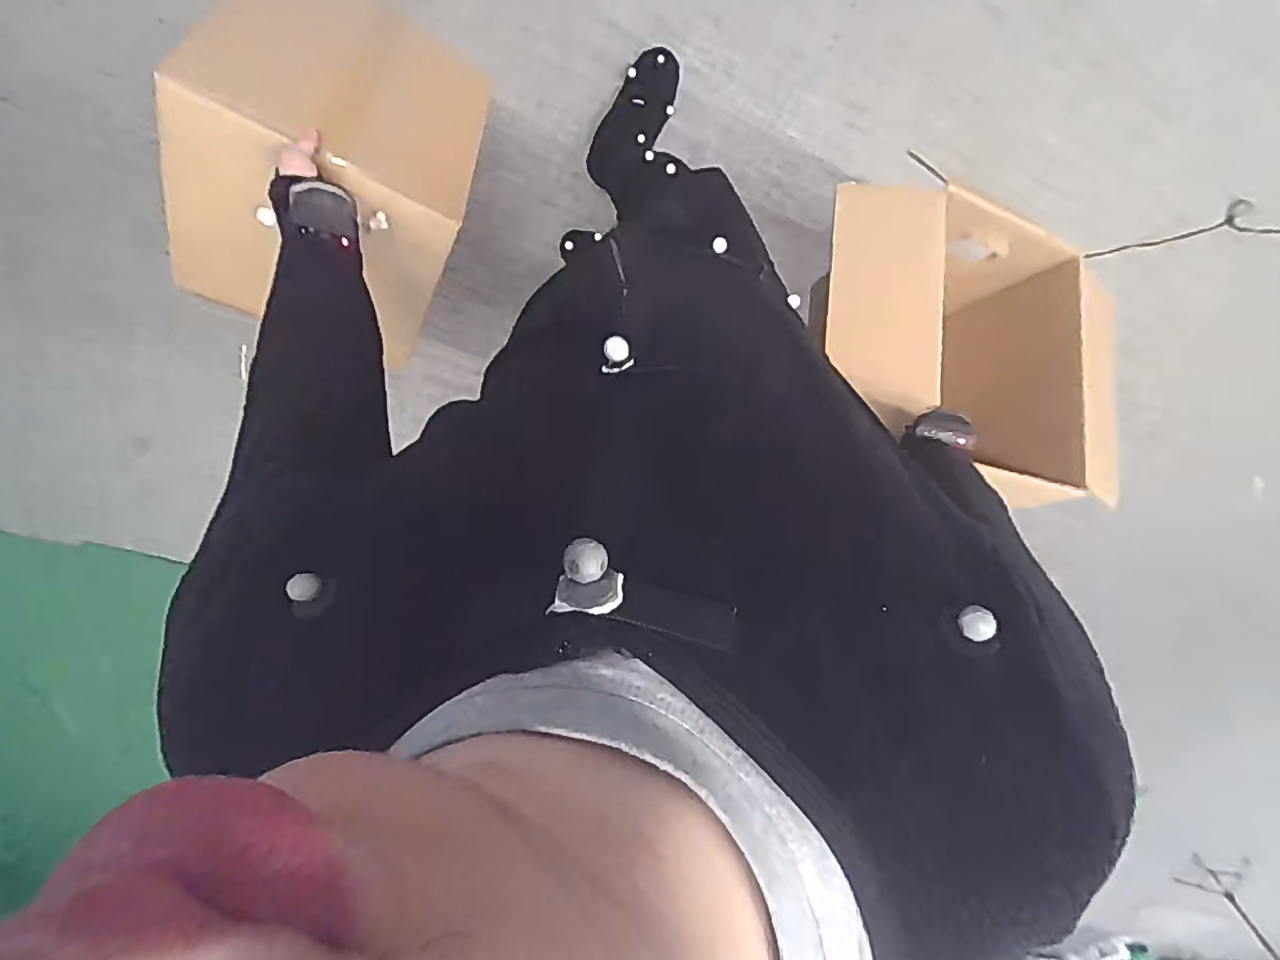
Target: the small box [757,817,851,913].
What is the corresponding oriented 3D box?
[{"bbox_3d":[0.454,1.086,1.533,0.179,0.176,0.168,20,122,-14],"label":"small box"}]
